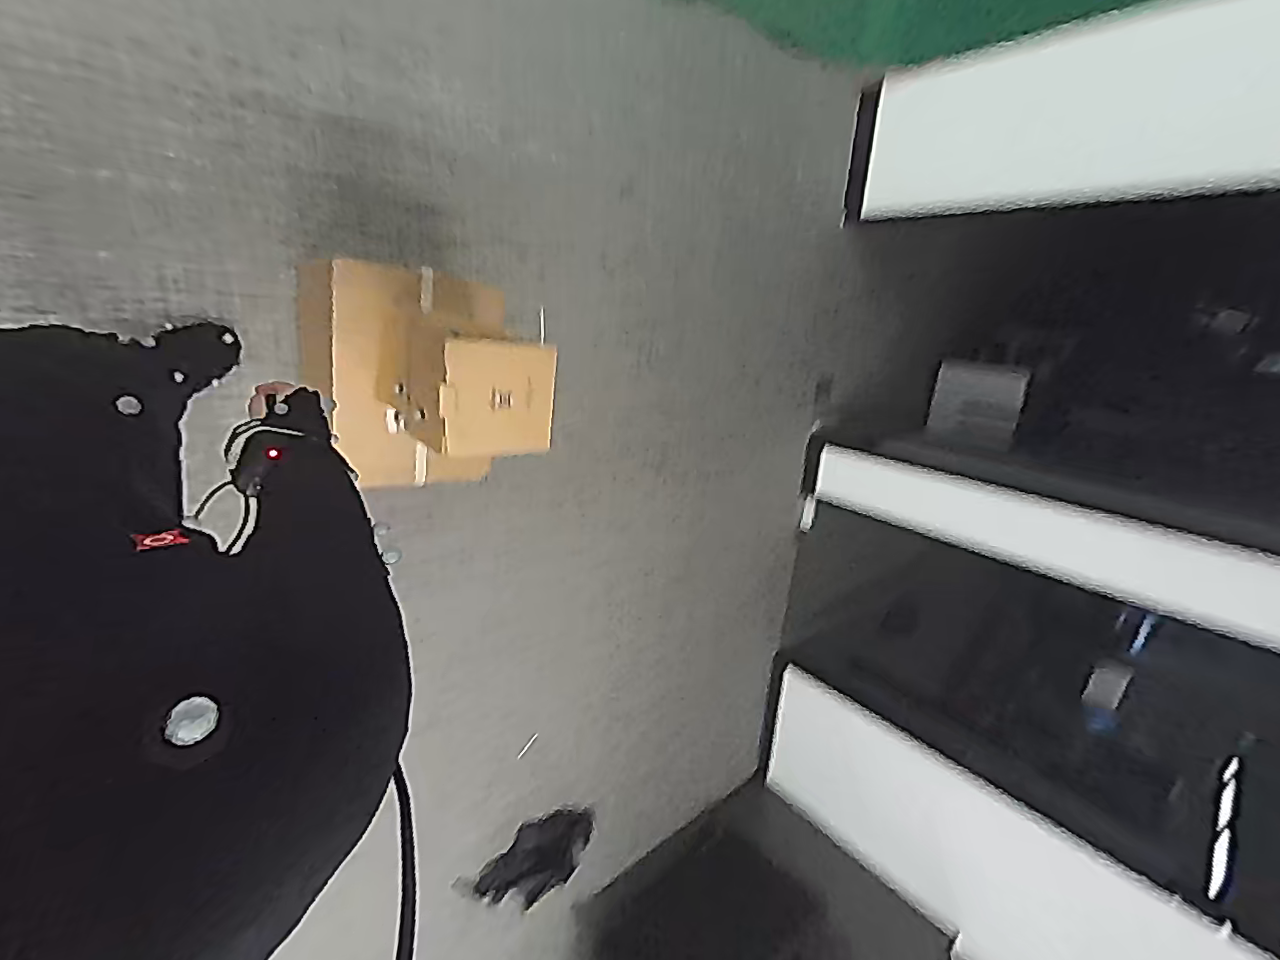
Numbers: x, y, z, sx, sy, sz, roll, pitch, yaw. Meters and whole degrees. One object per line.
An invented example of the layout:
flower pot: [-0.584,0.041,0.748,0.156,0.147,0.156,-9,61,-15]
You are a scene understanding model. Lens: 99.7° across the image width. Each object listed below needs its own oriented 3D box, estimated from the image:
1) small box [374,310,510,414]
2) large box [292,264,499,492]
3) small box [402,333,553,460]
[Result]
small box: [-0.357,-0.197,0.965,0.168,0.176,0.179,3,104,-44]
large box: [-0.523,-0.221,1.146,0.320,0.320,0.408,-4,110,-41]
small box: [-0.260,-0.136,0.849,0.179,0.176,0.168,-8,113,-42]
